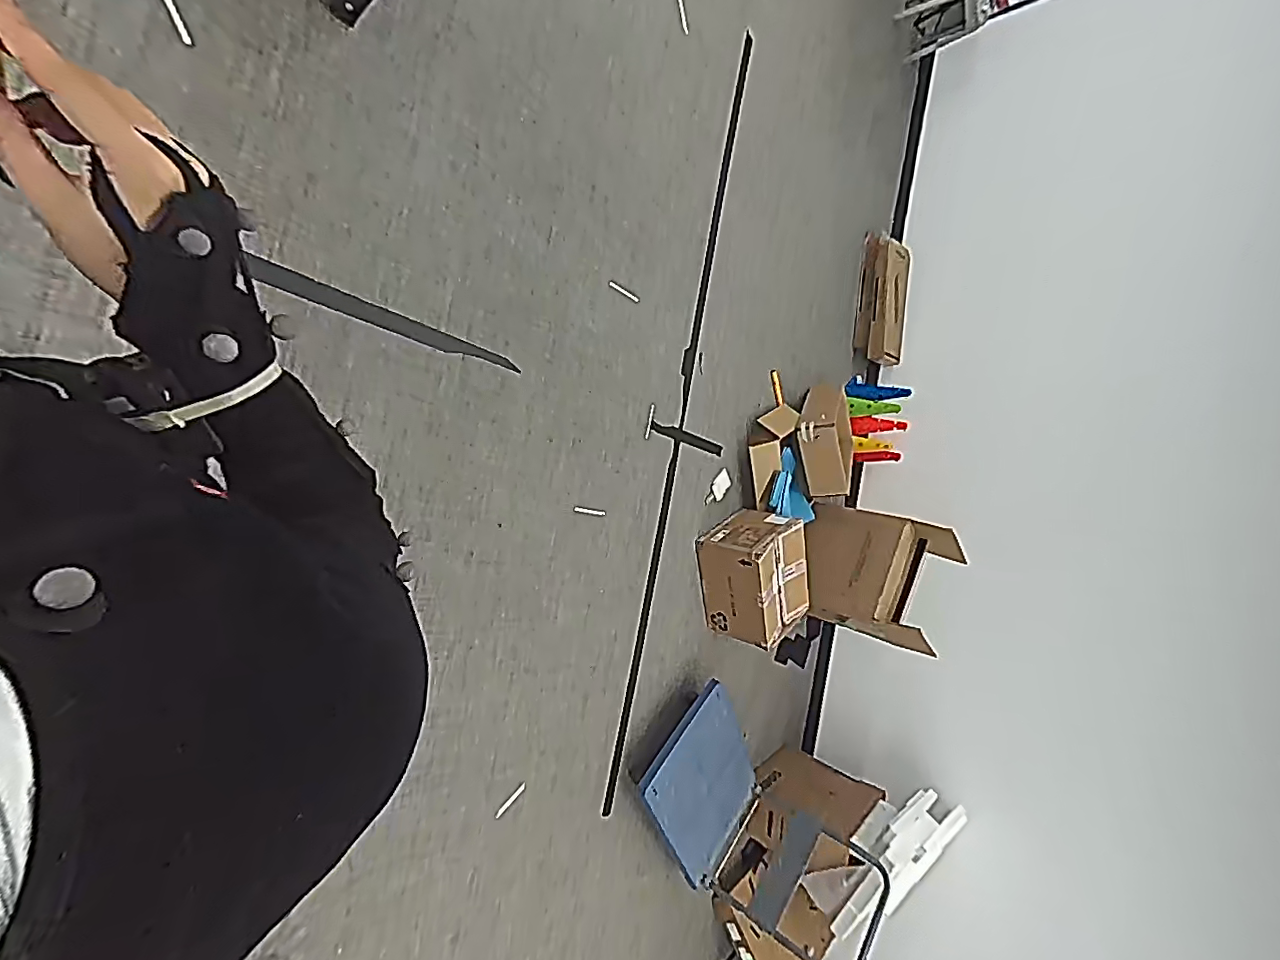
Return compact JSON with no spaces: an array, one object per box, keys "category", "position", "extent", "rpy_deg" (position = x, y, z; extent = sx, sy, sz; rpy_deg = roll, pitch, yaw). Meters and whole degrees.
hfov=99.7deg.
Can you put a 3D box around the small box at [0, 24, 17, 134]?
[{"category":"small box","position":[-0.375,-0.249,0.195],"extent":[0.179,0.176,0.168],"rpy_deg":[-12,110,-46]}]
